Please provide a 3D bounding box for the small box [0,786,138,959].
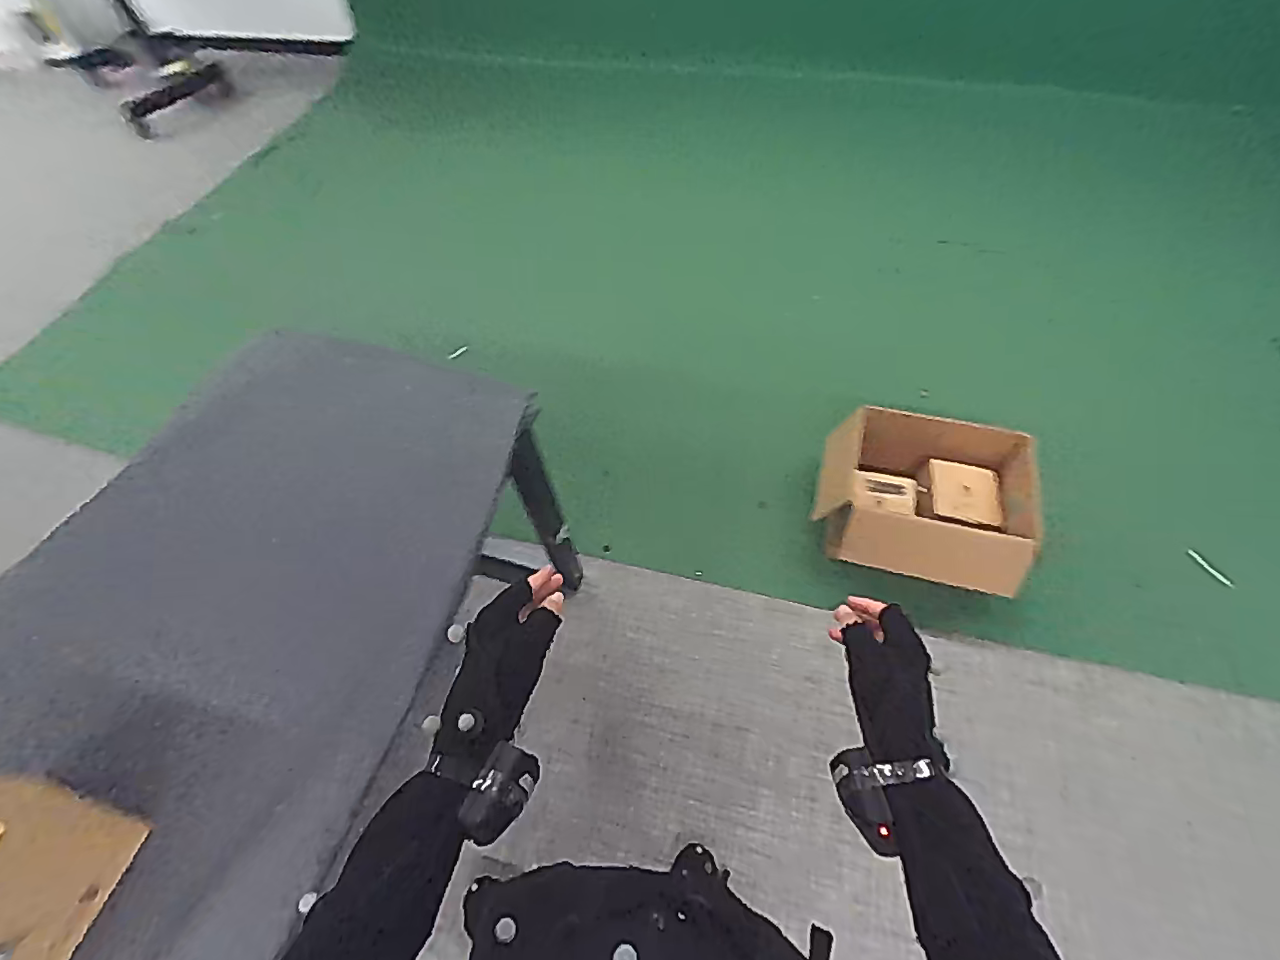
[{"bbox_3d":[-0.654,0.398,0.510,0.179,0.176,0.168,11,59,11],"label":"small box"}]
